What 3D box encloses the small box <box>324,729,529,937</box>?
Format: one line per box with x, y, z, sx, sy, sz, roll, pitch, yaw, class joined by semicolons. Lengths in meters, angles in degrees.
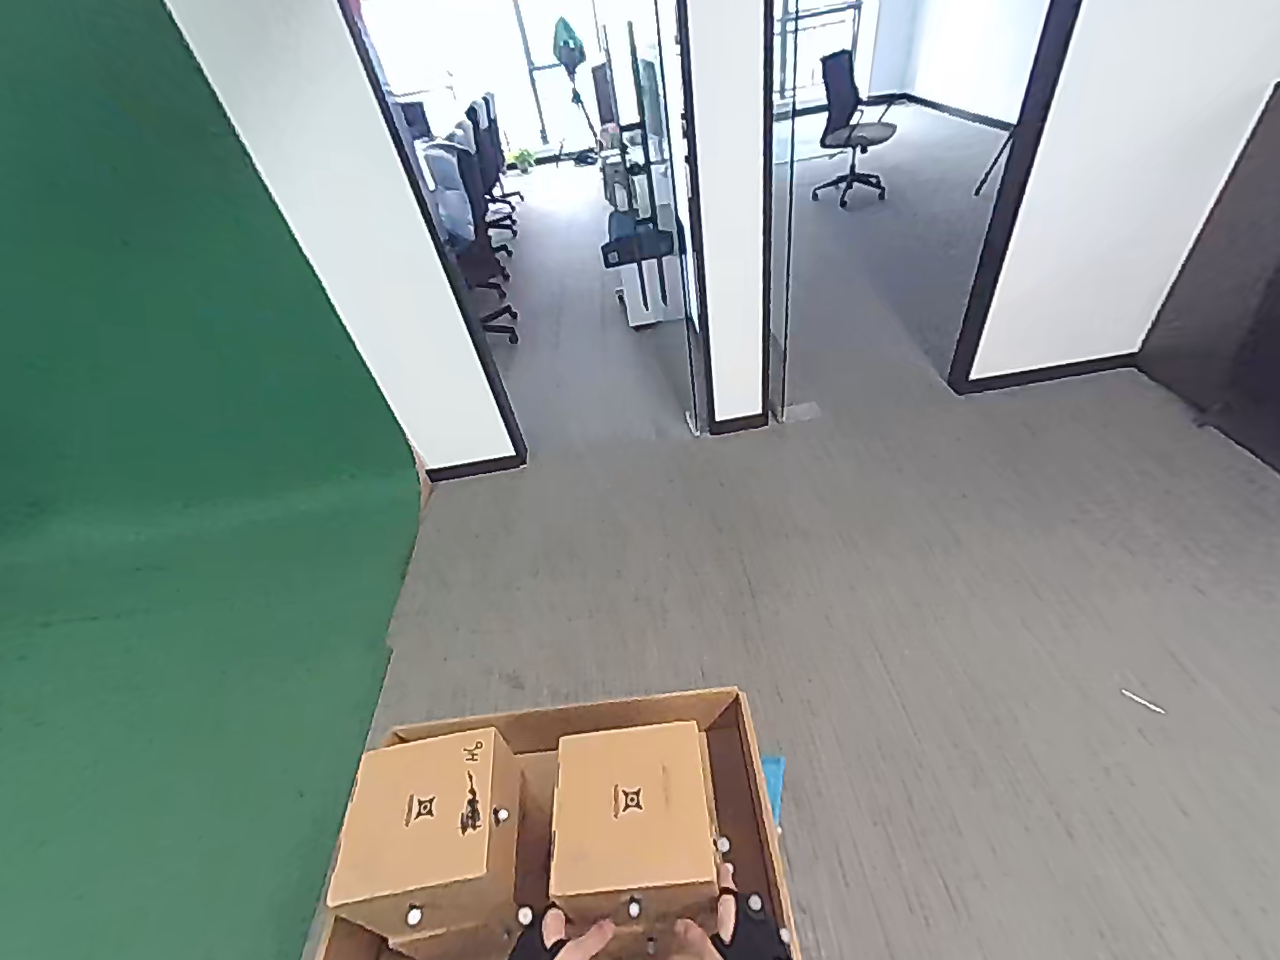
-0.252;0.450;0.688;0.179;0.176;0.168;-11;41;-1;small box
